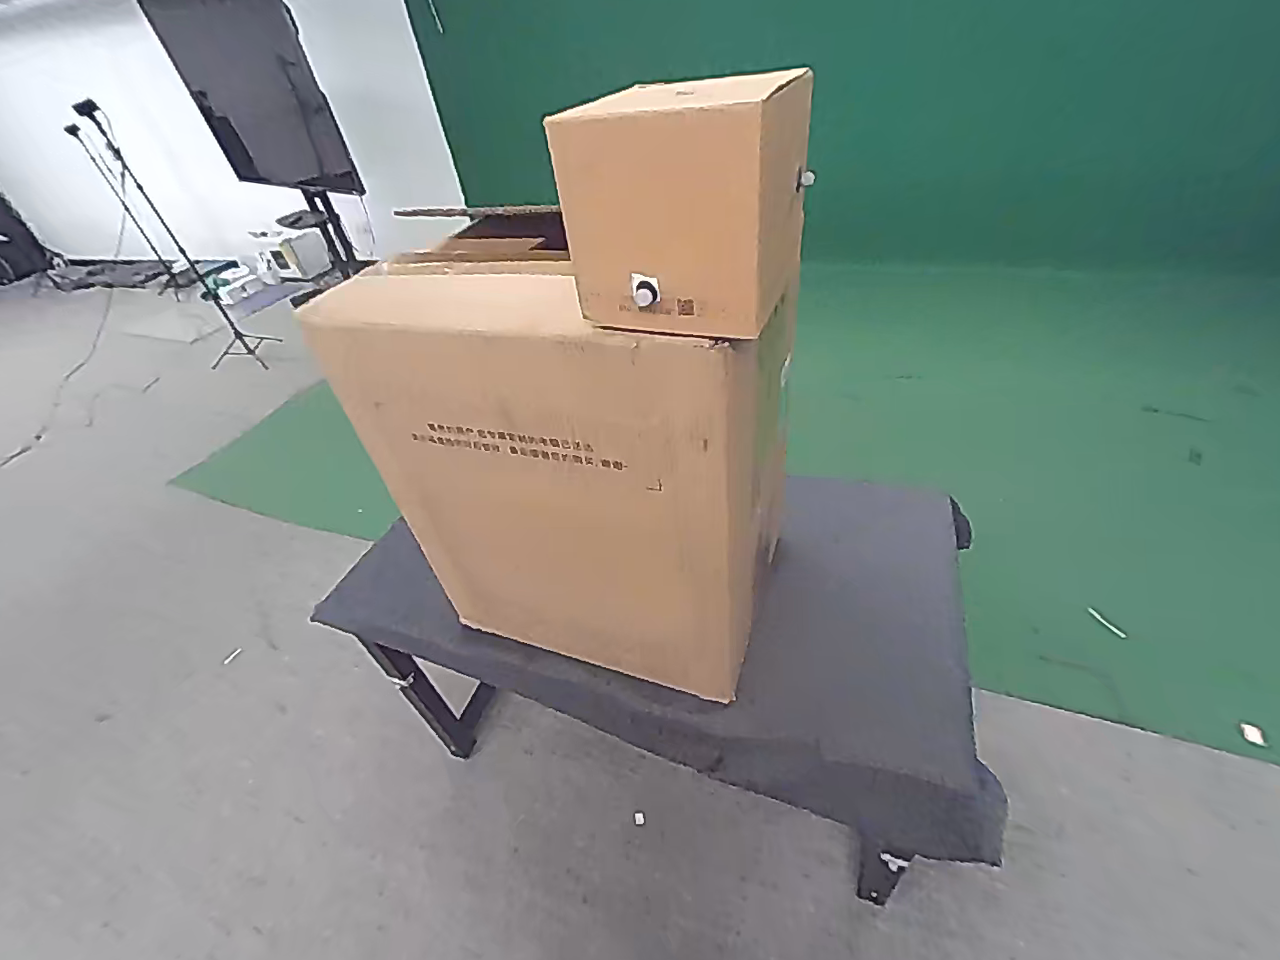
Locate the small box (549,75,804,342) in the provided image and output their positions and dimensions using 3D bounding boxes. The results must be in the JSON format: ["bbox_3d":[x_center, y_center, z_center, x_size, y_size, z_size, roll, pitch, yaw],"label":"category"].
[{"bbox_3d":[0.044,-0.243,0.486,0.168,0.176,0.179,9,44,21],"label":"small box"}]
